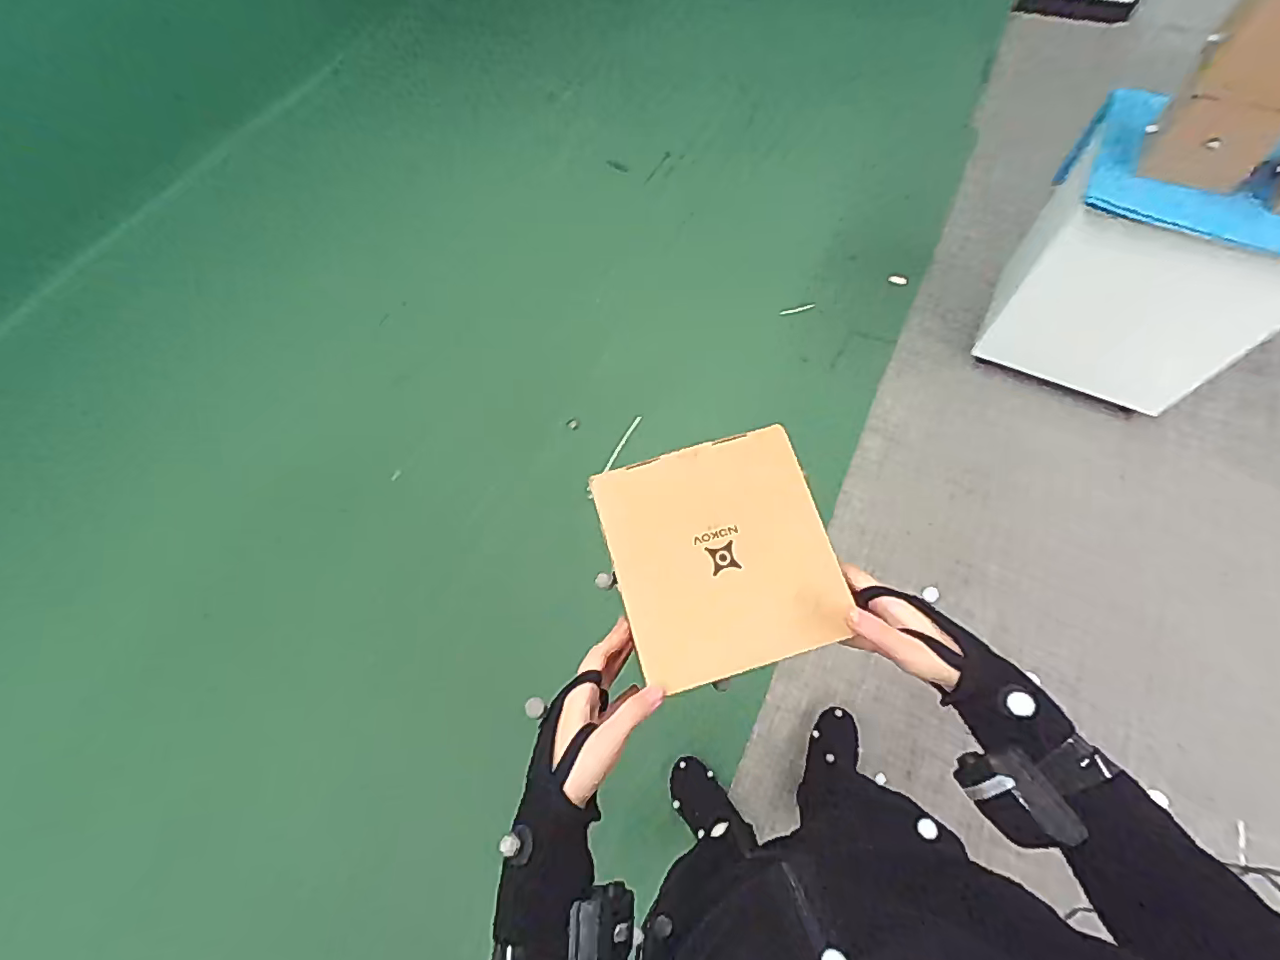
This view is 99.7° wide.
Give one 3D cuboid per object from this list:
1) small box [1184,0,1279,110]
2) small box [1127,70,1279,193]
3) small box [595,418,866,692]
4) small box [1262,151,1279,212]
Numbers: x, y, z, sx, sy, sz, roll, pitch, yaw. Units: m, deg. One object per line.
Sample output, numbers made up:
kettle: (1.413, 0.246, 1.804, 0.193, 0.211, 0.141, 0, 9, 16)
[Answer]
small box: (1.153, -0.805, 0.972, 0.179, 0.176, 0.168, 24, 67, 15)
small box: (1.173, -0.728, 1.117, 0.179, 0.176, 0.168, 24, 67, 16)
small box: (0.065, 0.072, 0.482, 0.168, 0.176, 0.179, -15, 73, -5)
small box: (1.378, -0.619, 1.045, 0.168, 0.176, 0.179, 24, 68, 15)
